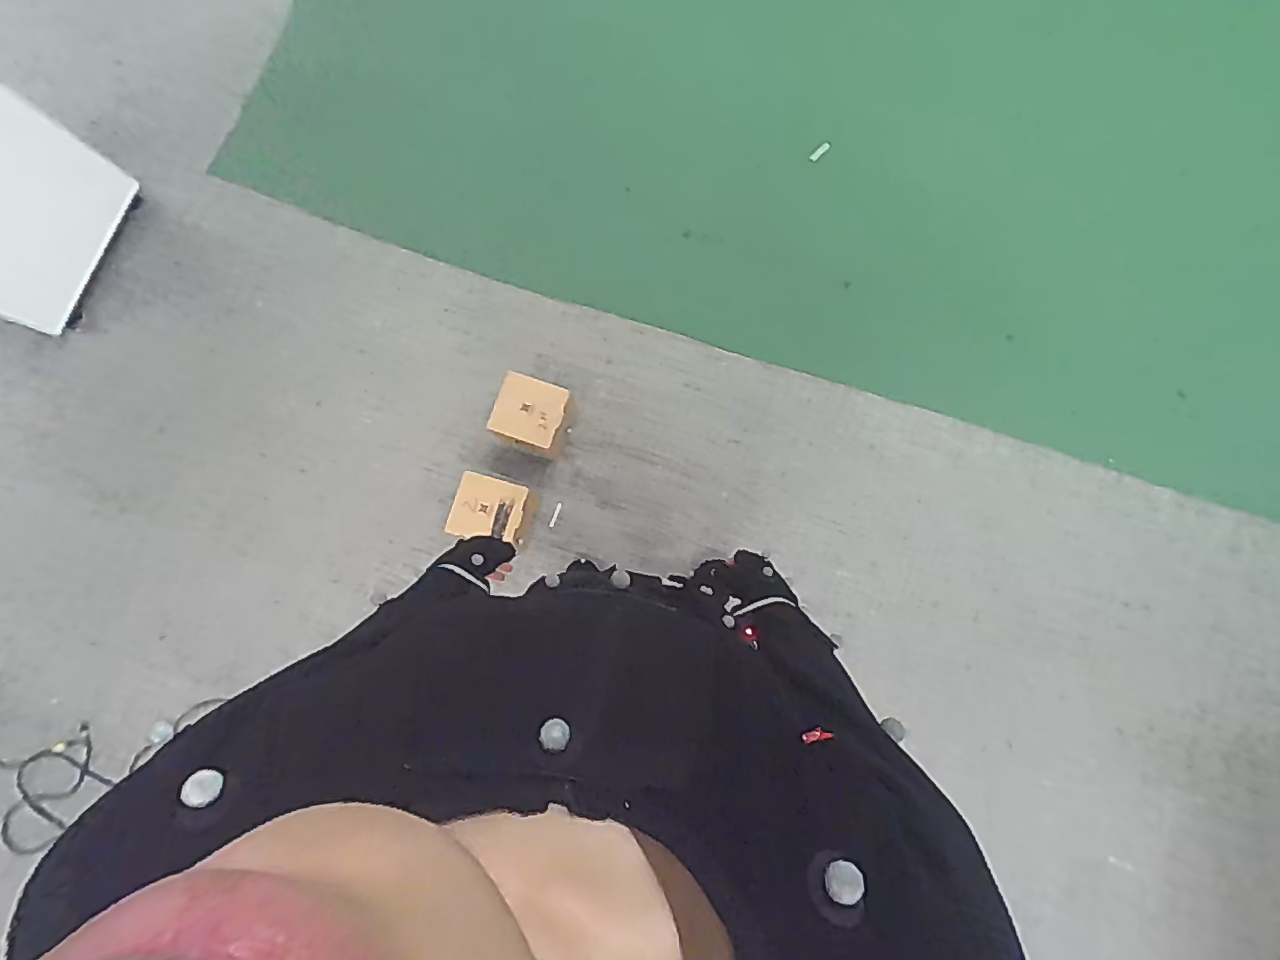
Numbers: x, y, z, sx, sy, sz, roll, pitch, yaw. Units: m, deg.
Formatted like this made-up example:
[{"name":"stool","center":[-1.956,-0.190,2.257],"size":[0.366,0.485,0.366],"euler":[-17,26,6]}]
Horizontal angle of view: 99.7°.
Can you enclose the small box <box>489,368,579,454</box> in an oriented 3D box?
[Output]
[{"name":"small box","center":[-0.281,-0.179,1.474],"size":[0.179,0.176,0.168],"euler":[19,83,3]}]
